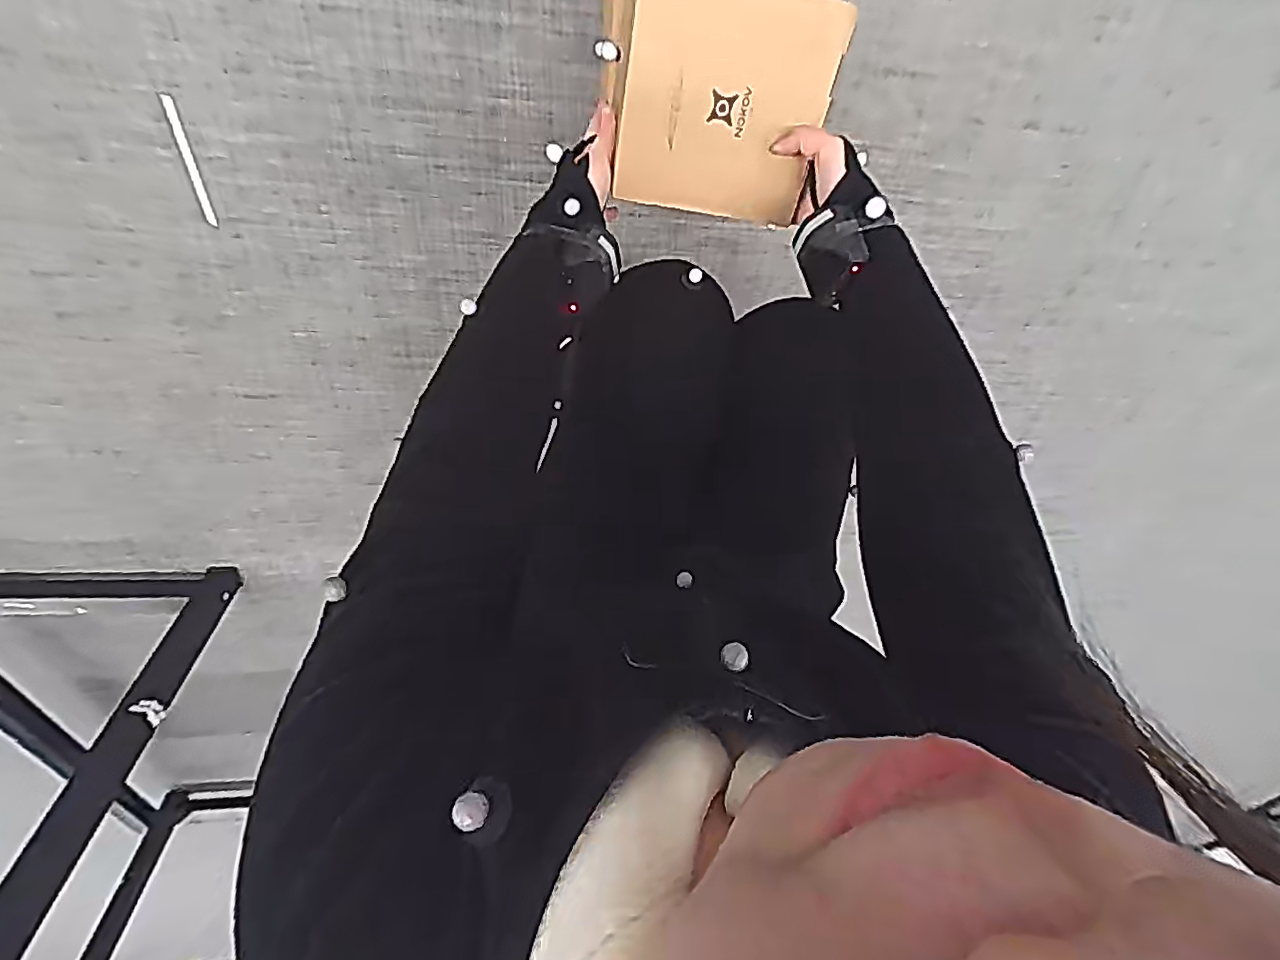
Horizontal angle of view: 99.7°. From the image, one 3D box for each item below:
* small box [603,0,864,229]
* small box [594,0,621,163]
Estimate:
[{"bbox_3d":[0.065,-0.354,0.501,0.179,0.176,0.168,5,129,-10],"label":"small box"},{"bbox_3d":[0.044,-0.463,0.623,0.179,0.176,0.168,1,130,-10],"label":"small box"}]
